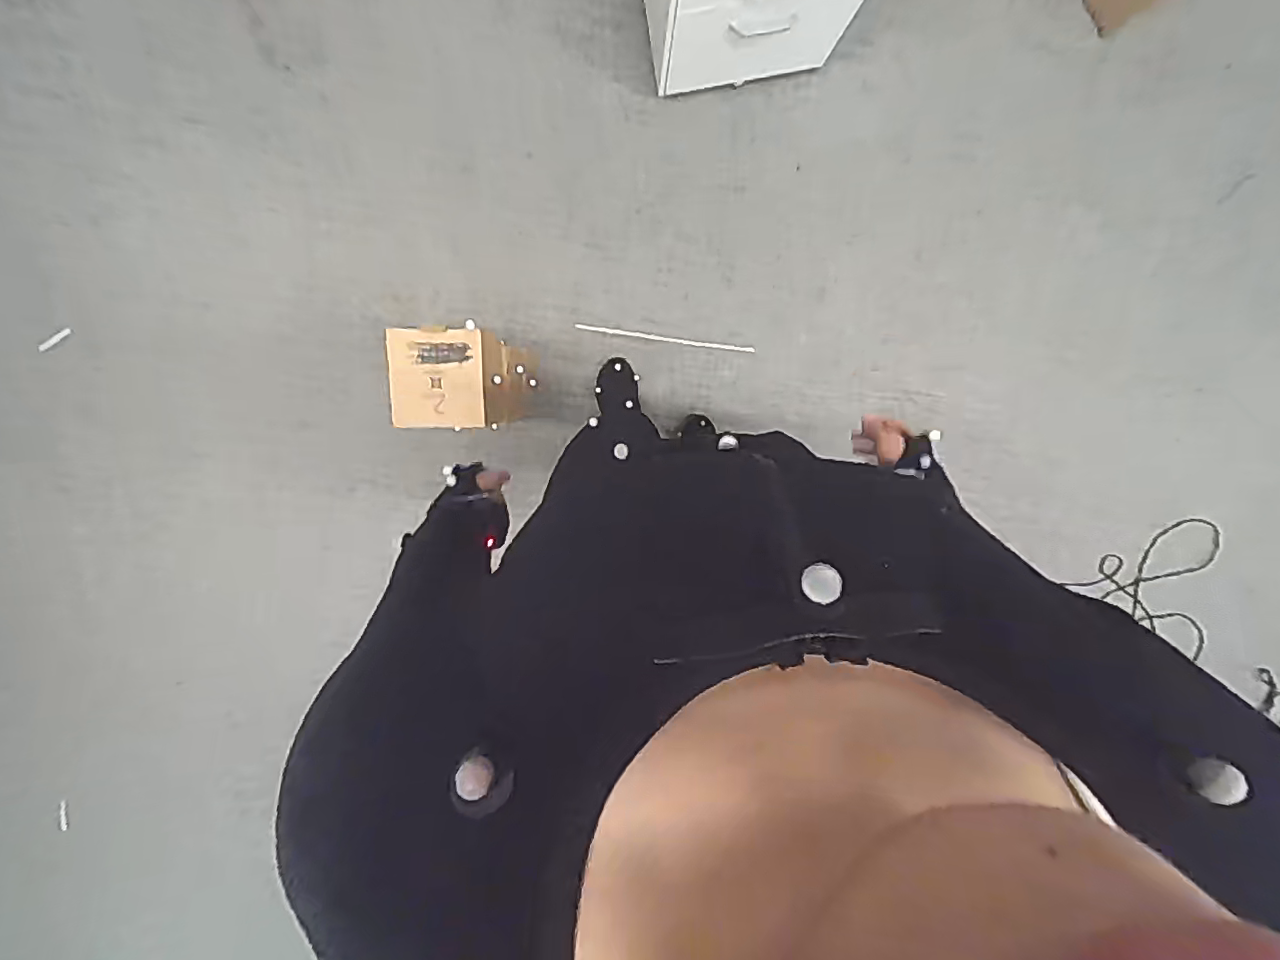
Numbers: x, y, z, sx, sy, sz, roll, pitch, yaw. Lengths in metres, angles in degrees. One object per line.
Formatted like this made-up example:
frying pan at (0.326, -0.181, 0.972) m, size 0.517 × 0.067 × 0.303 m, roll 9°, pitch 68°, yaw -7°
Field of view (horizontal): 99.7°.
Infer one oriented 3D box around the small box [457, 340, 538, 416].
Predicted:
small box at (-0.358, -0.257, 1.367) m, size 0.179 × 0.176 × 0.168 m, roll 5°, pitch 100°, yaw -2°

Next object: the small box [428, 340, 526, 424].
small box at (-0.356, -0.217, 1.208) m, size 0.179 × 0.176 × 0.168 m, roll 3°, pitch 99°, yaw 0°
